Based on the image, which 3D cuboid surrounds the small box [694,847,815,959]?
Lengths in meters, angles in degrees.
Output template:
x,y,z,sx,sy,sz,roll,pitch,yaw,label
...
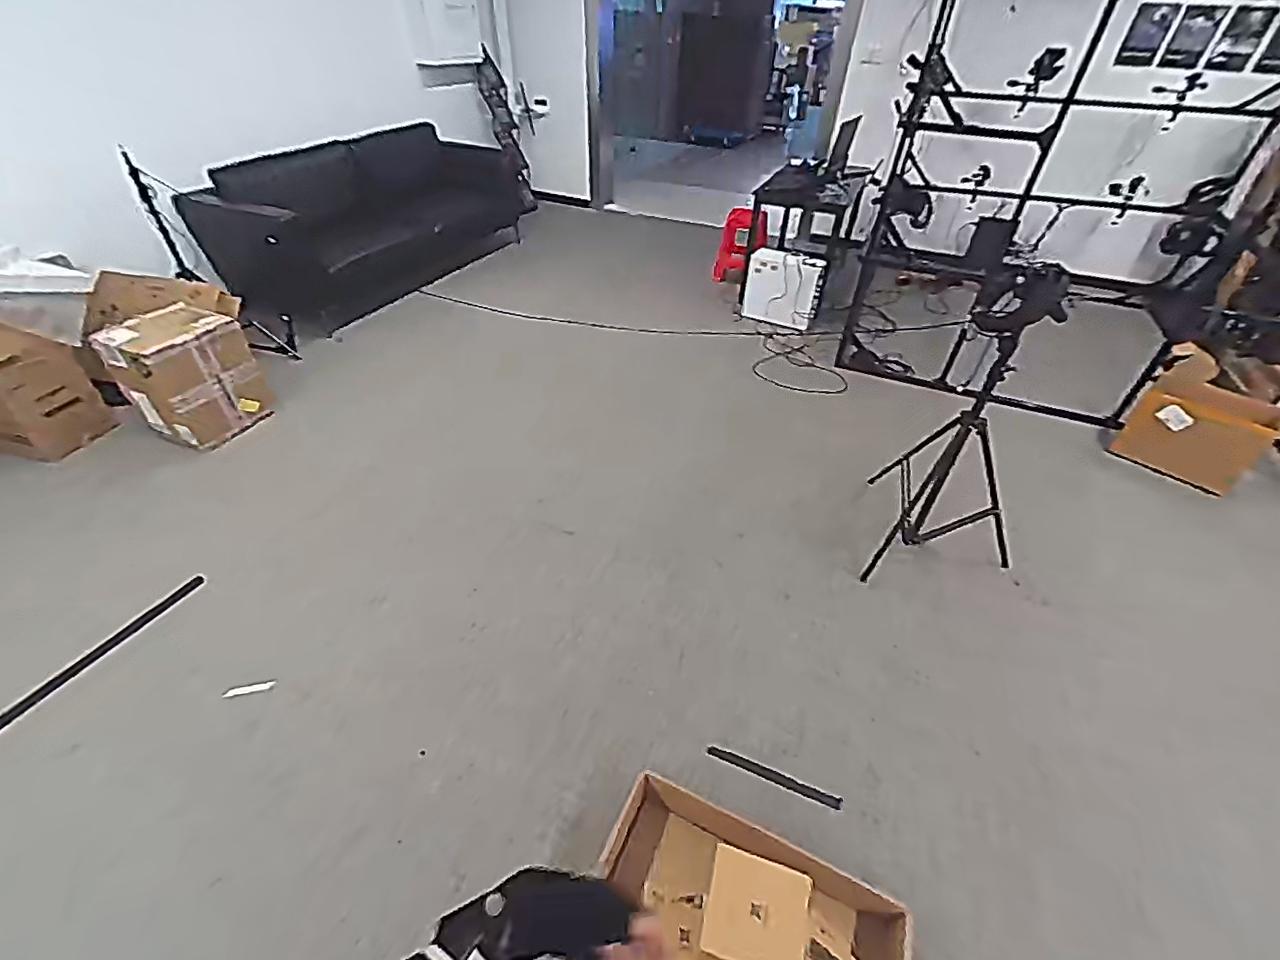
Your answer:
x,y,z,sx,sy,sz,roll,pitch,yaw,label
0.205,0.811,0.980,0.179,0.176,0.168,12,40,13,small box
